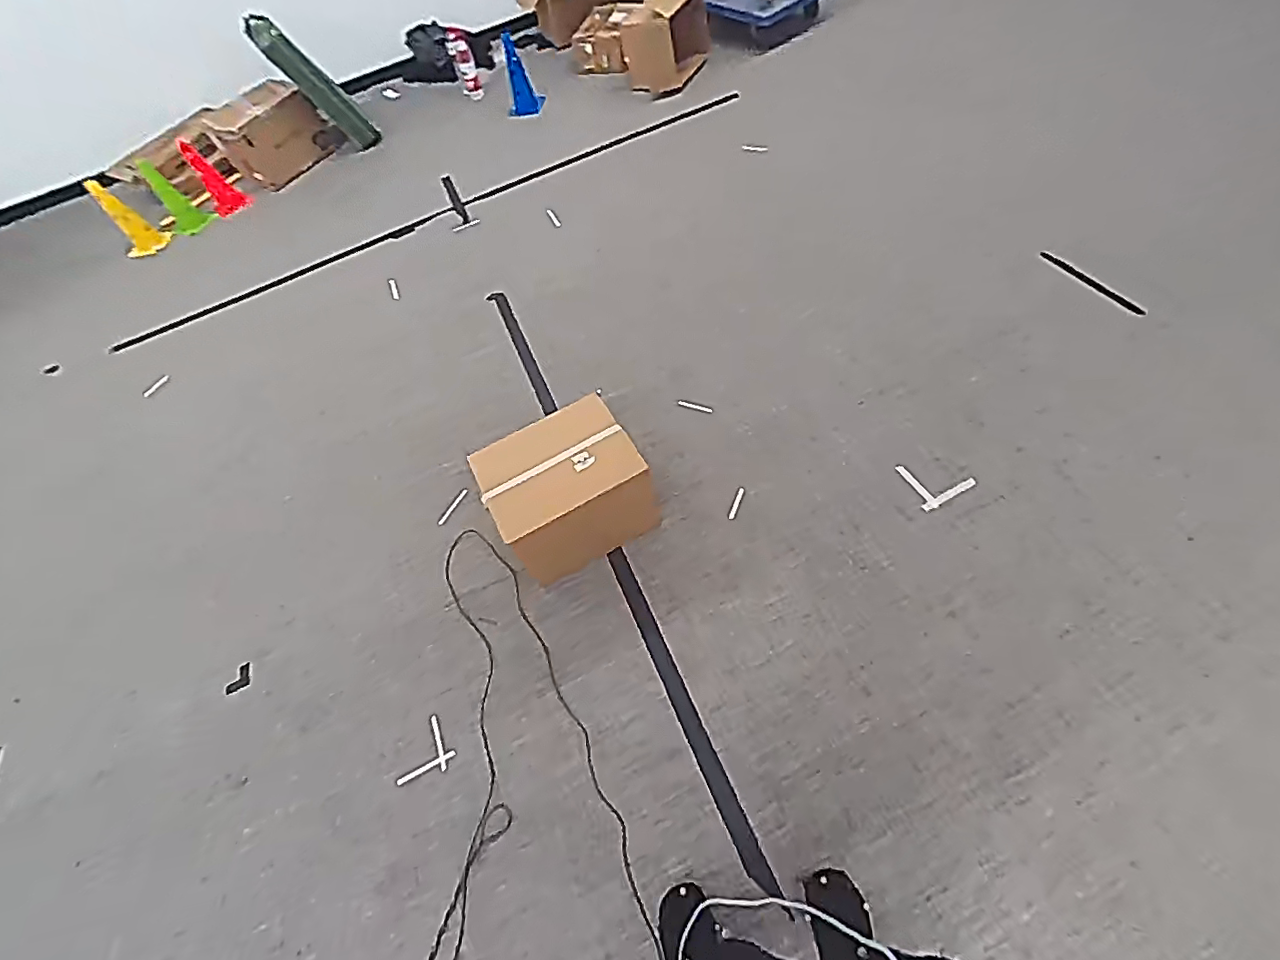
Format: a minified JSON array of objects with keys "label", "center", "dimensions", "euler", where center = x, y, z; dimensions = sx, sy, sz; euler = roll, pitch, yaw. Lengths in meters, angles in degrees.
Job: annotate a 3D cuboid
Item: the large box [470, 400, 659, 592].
[{"label":"large box","center":[-0.202,0.050,1.543],"dimensions":[0.408,0.320,0.320],"euler":[-28,58,-9]}]
